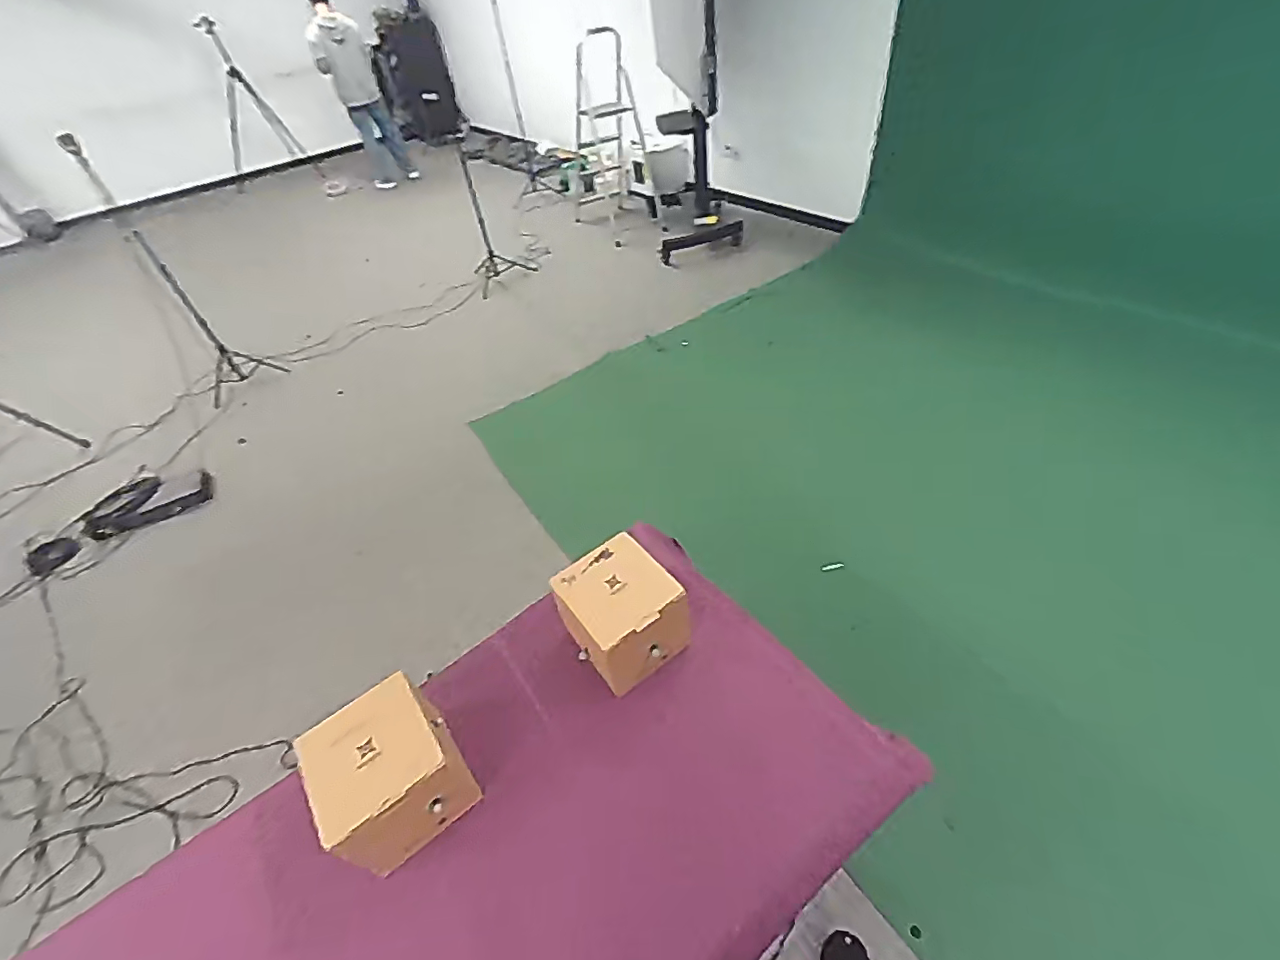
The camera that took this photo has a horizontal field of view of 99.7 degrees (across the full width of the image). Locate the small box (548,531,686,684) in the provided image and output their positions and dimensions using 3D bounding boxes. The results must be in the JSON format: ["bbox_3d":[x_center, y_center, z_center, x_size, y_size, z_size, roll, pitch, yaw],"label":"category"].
[{"bbox_3d":[-0.034,0.231,0.953,0.168,0.176,0.179,-32,50,-21],"label":"small box"}]

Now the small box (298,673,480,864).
[{"bbox_3d":[-0.366,0.434,0.808,0.168,0.176,0.179,-33,49,-22],"label":"small box"}]
